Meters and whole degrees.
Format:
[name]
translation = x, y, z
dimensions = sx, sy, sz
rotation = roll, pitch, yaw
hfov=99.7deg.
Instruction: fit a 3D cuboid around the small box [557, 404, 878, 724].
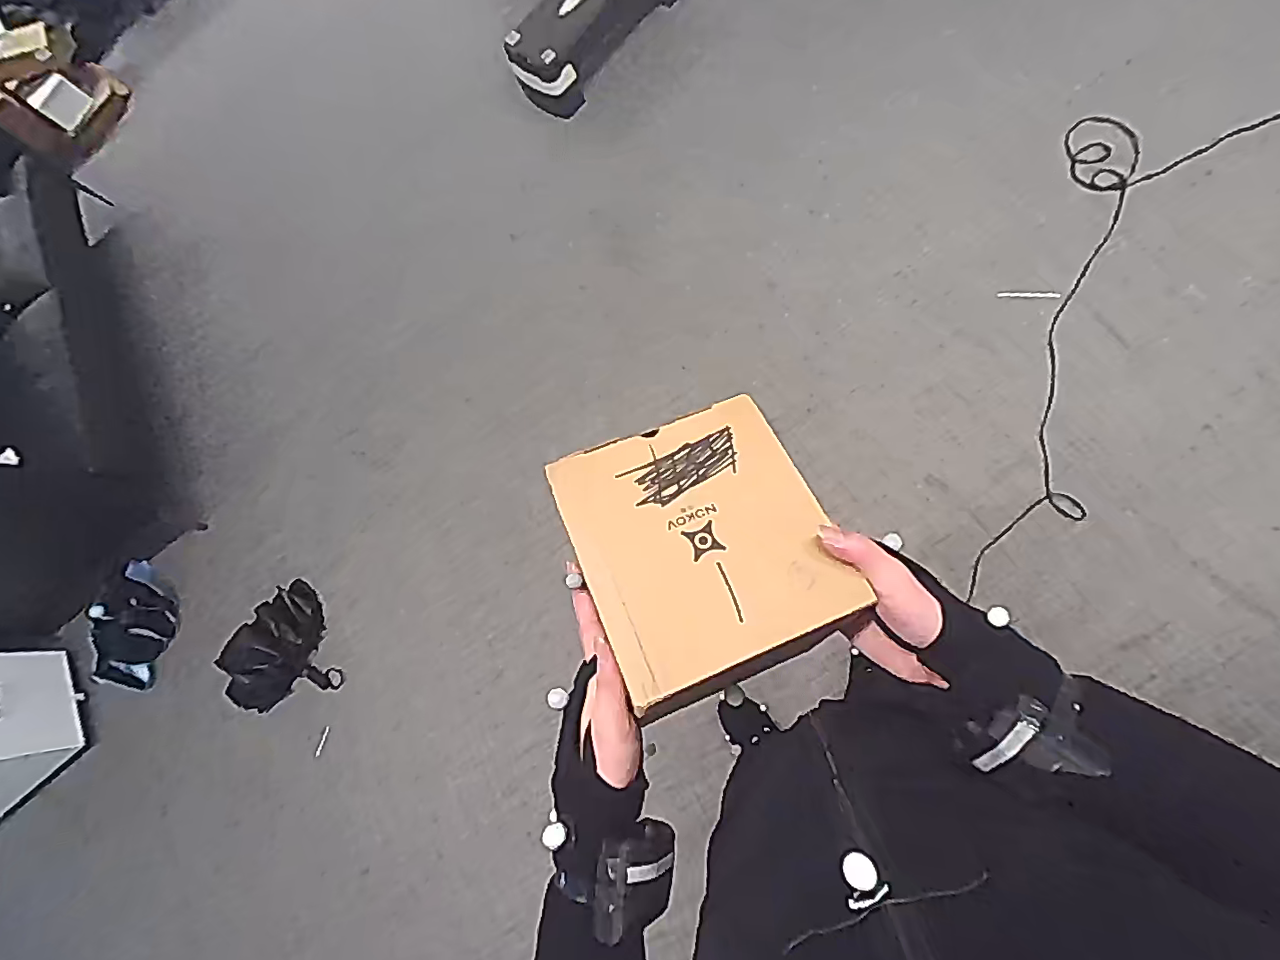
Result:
[small box]
translation = 0.045, 0.075, 0.433
dimensions = 0.168, 0.176, 0.179
rotation = -20, 64, -9
